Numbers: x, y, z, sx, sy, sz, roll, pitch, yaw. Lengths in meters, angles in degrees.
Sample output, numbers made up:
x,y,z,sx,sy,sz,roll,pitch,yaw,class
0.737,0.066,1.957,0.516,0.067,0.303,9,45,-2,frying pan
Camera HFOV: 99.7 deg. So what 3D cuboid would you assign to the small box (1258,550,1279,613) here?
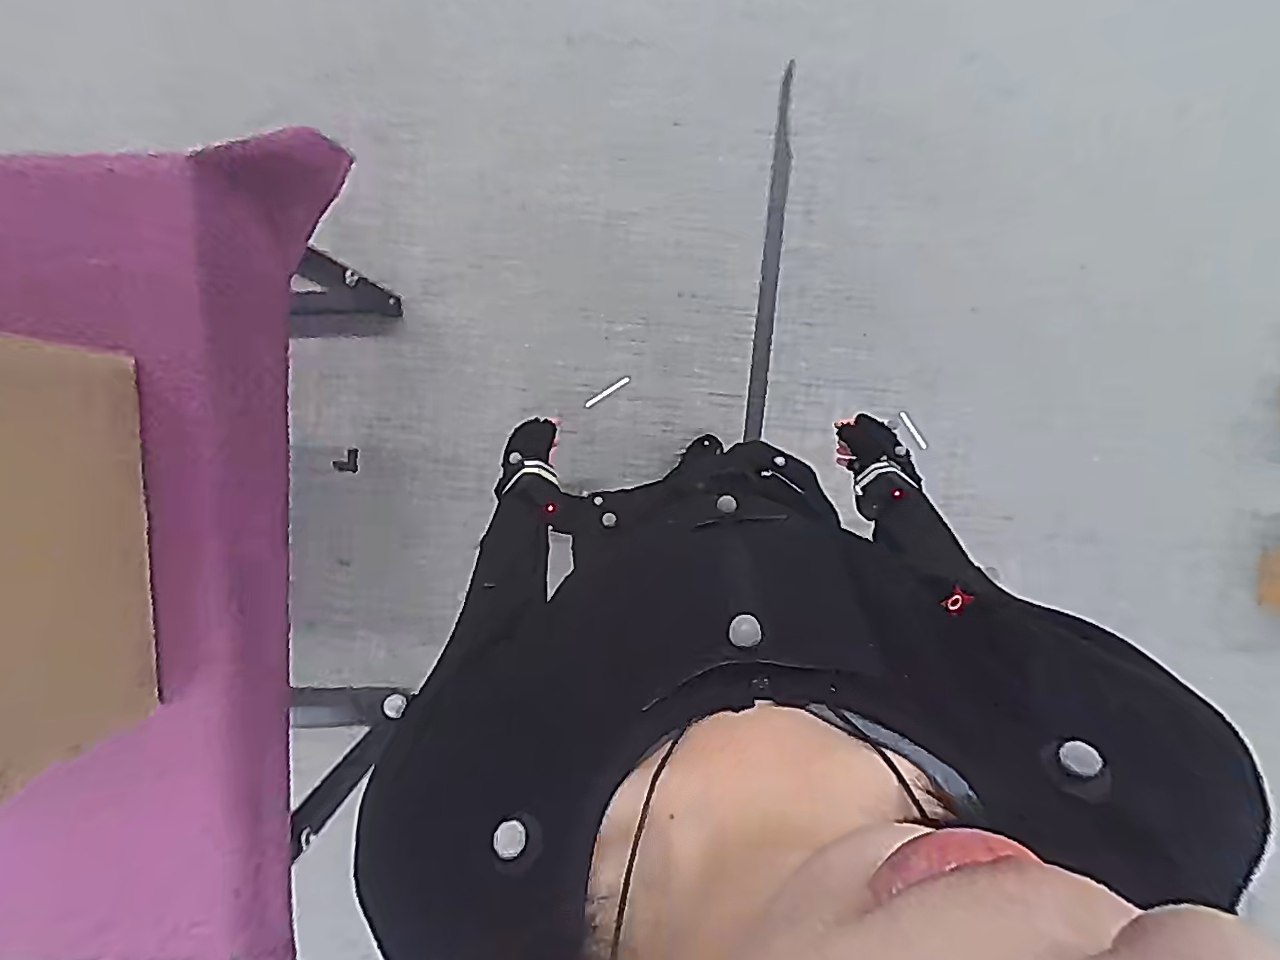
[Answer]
x,y,z,sx,sy,sz,roll,pitch,yaw,class
1.850,0.292,1.463,0.168,0.176,0.179,3,95,1,small box
